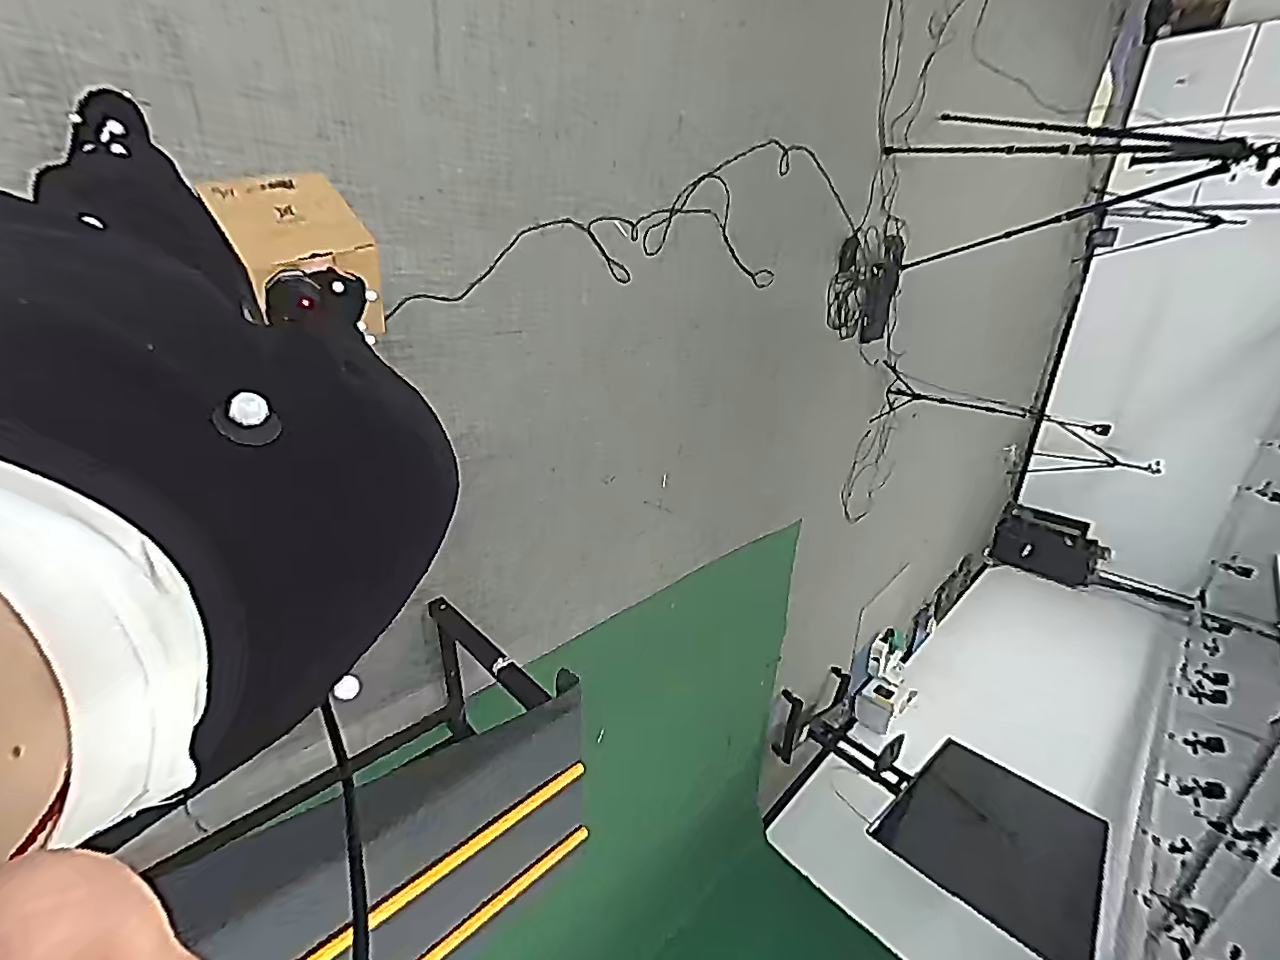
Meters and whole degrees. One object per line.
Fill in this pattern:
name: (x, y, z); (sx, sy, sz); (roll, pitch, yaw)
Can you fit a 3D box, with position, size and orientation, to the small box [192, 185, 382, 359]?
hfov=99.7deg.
small box: (-0.512, -0.304, 0.812); (0.168, 0.179, 0.176); (-33, 160, -33)
